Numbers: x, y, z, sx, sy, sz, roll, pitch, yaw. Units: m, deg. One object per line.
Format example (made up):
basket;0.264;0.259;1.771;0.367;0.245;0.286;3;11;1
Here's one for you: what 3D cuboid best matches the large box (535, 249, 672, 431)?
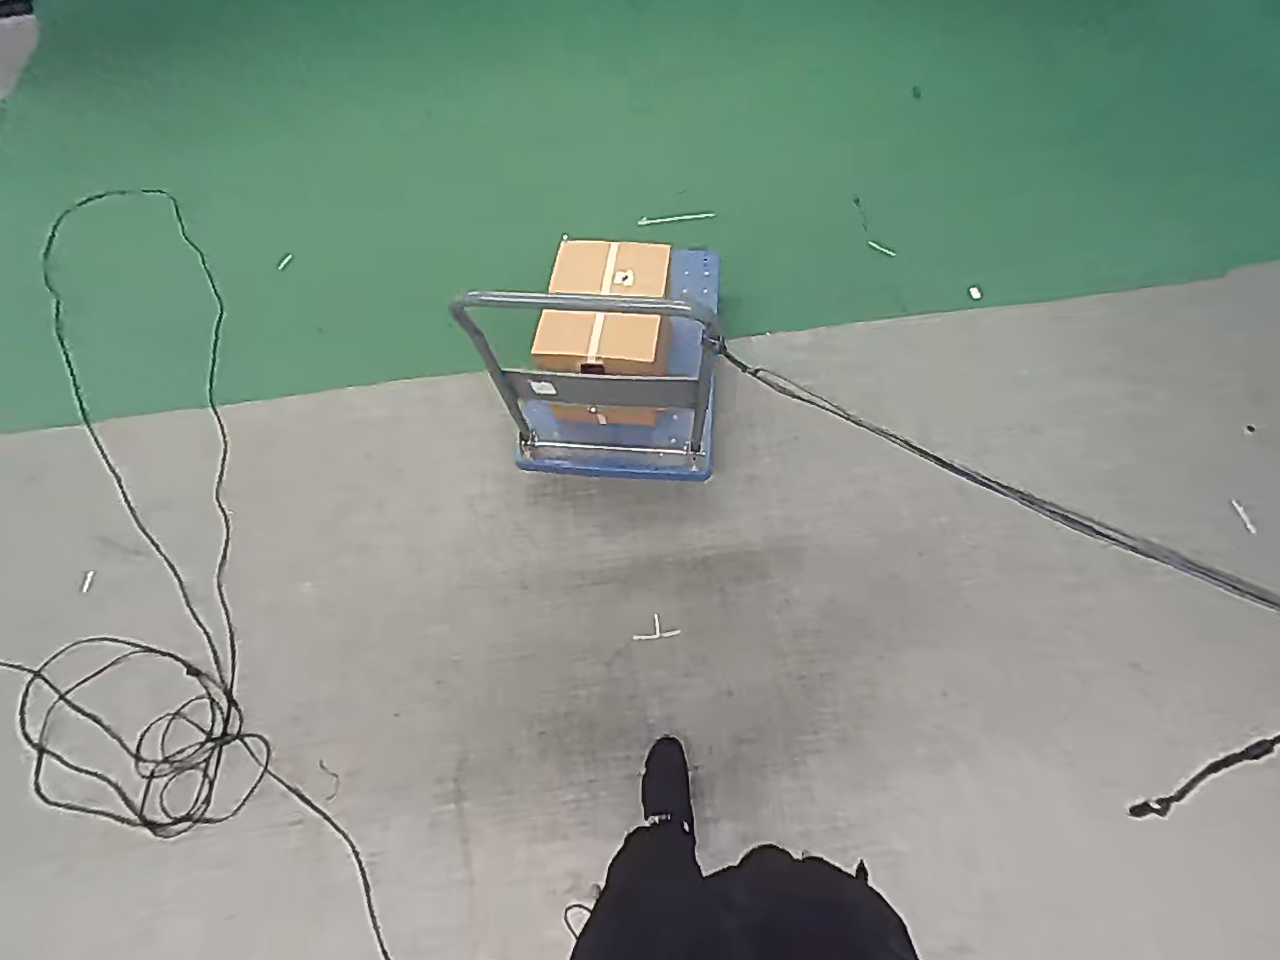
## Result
large box;-0.080;-0.389;1.540;0.320;0.320;0.408;6;64;6
